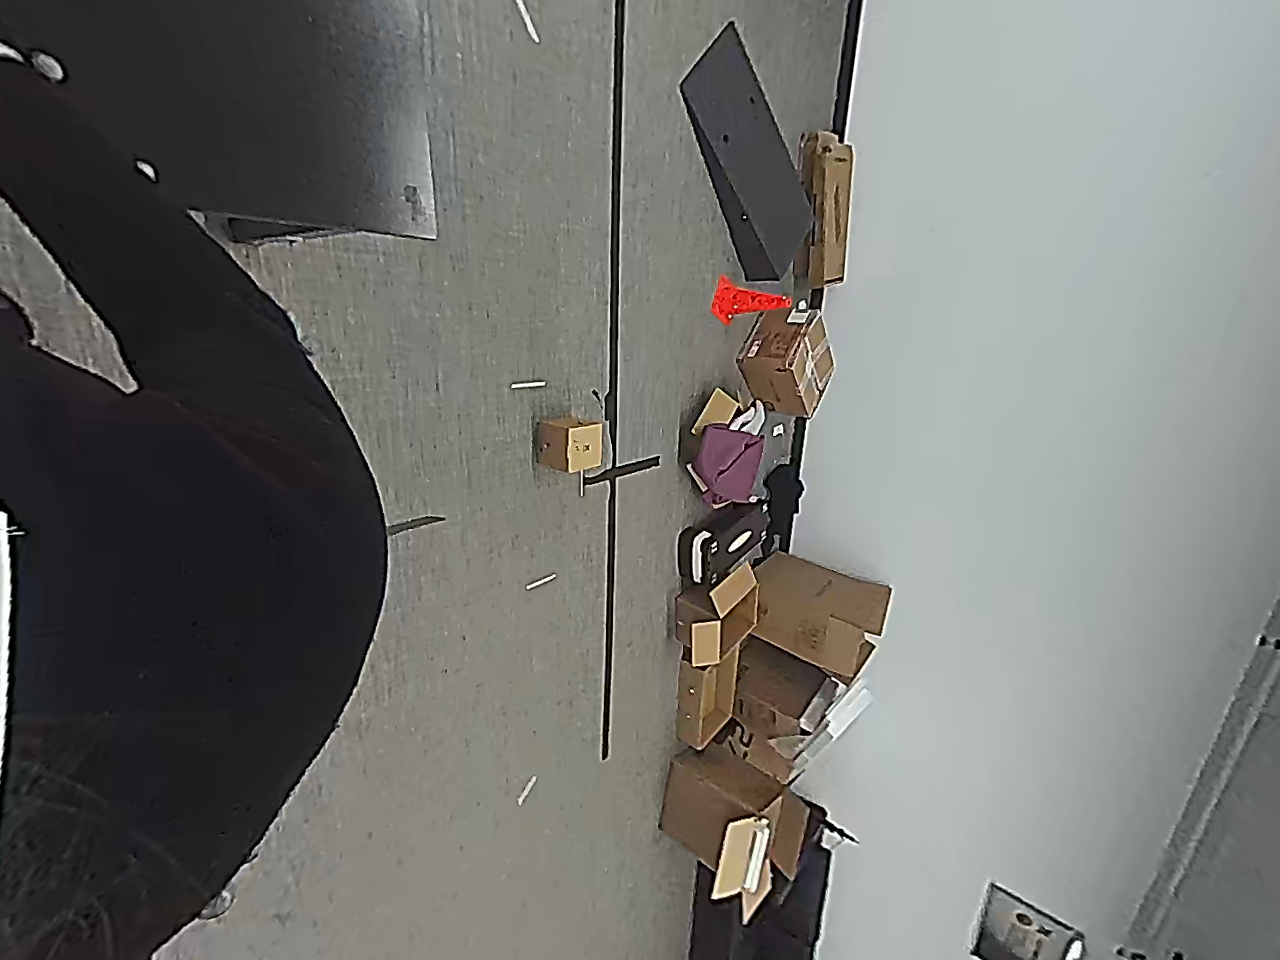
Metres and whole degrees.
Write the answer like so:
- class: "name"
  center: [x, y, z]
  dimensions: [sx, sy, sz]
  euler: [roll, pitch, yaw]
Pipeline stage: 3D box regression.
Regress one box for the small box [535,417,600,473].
- class: "small box"
  center: [-0.271, -0.136, 2.018]
  dimensions: [0.179, 0.176, 0.168]
  euler: [-17, 115, -48]
